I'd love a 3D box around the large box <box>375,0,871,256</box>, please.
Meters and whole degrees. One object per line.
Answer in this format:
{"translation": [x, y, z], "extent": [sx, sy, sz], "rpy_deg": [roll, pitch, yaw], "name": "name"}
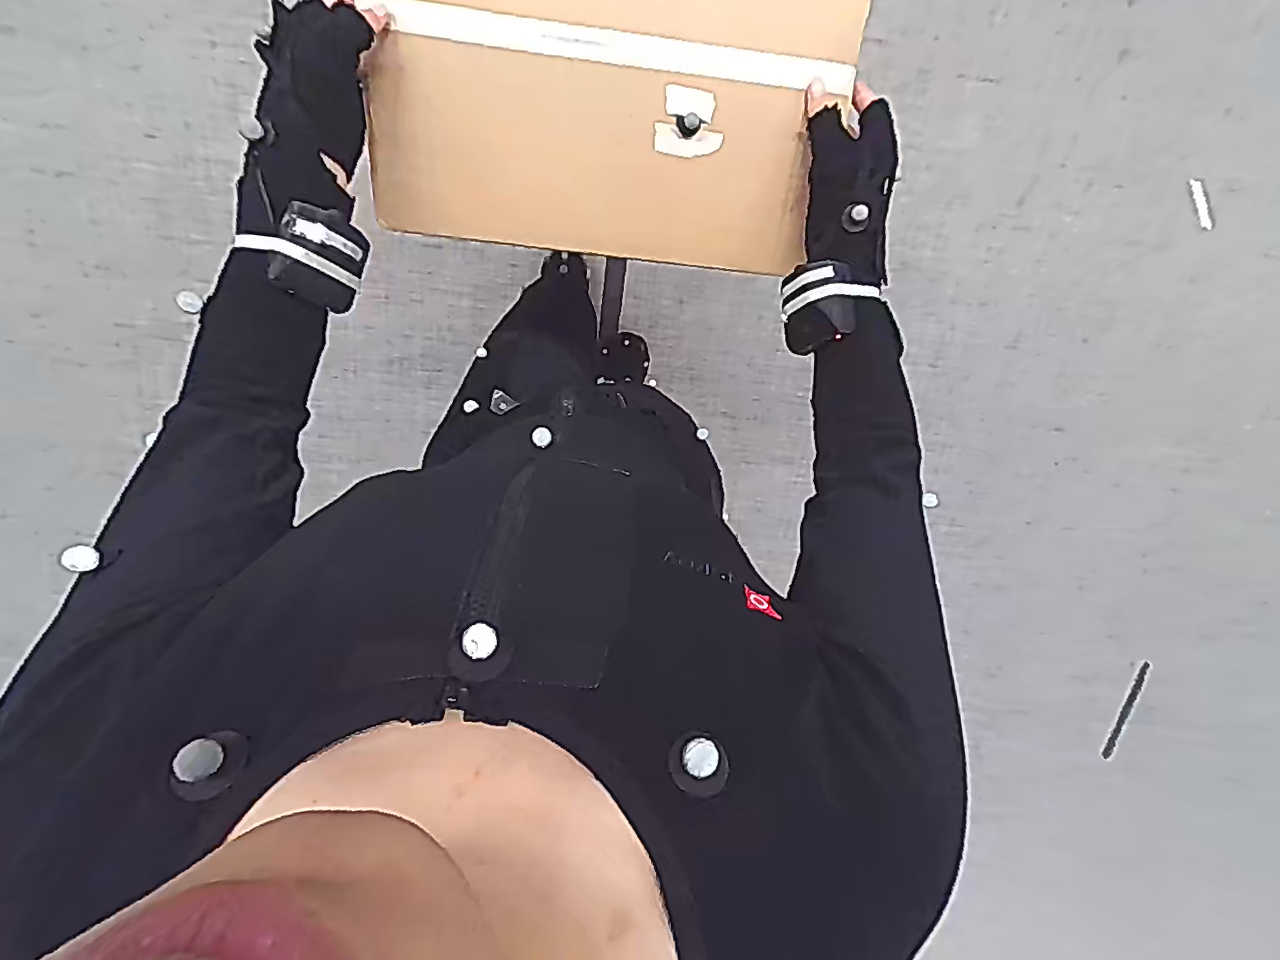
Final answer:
{"translation": [-0.023, -0.429, 0.576], "extent": [0.408, 0.320, 0.320], "rpy_deg": [4, 116, -6], "name": "large box"}
